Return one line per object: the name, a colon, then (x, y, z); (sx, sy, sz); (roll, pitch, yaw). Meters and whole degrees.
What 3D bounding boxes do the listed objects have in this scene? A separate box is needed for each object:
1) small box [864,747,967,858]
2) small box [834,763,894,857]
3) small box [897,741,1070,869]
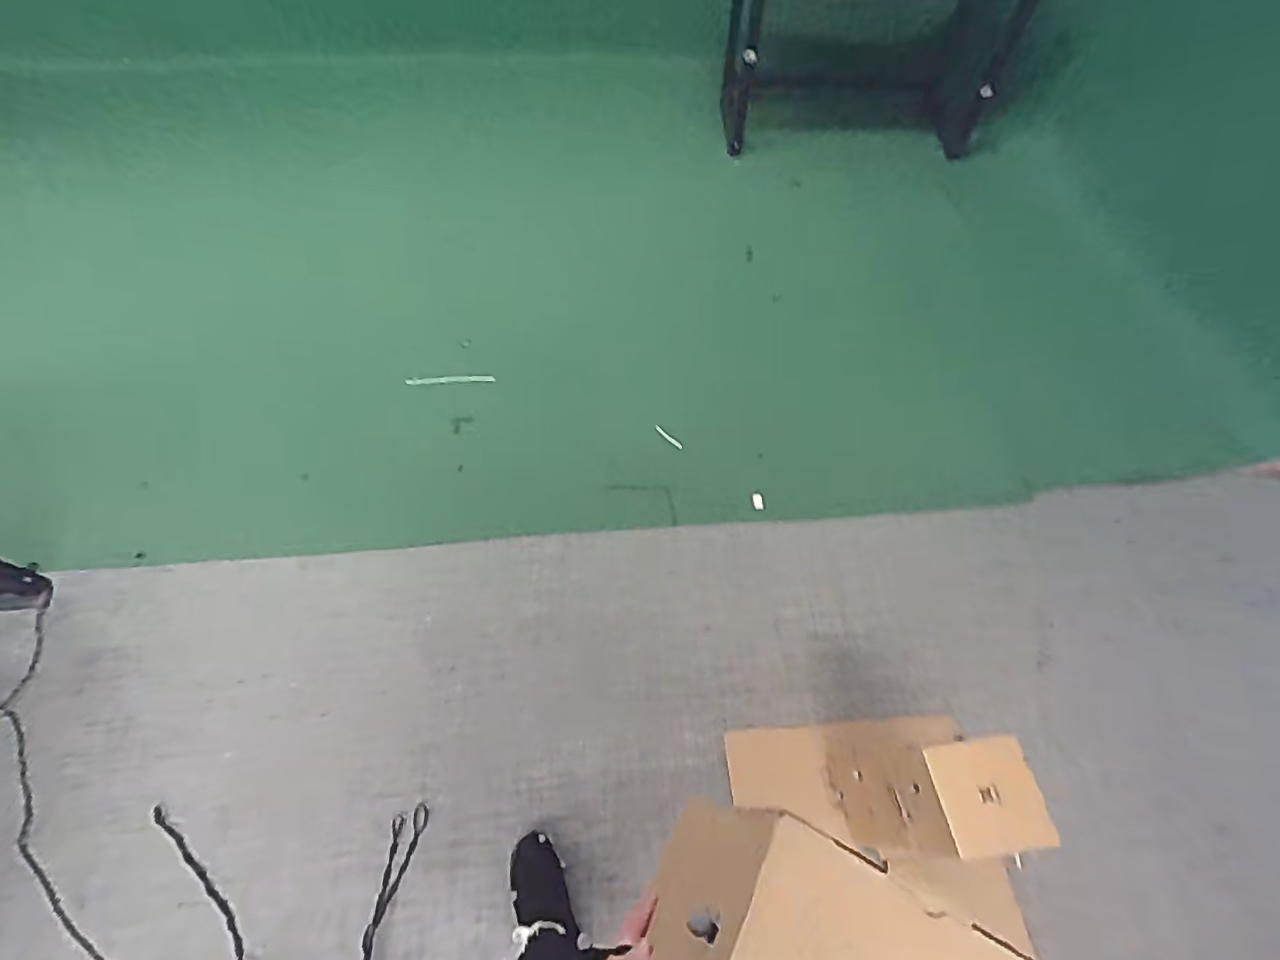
small box: (0.577, 0.651, 1.092); (0.179, 0.176, 0.168); (-6, 59, -6)
small box: (0.574, 0.736, 1.231); (0.179, 0.176, 0.168); (-10, 59, -6)
small box: (0.581, 0.570, 0.952); (0.179, 0.176, 0.168); (-6, 58, -5)
